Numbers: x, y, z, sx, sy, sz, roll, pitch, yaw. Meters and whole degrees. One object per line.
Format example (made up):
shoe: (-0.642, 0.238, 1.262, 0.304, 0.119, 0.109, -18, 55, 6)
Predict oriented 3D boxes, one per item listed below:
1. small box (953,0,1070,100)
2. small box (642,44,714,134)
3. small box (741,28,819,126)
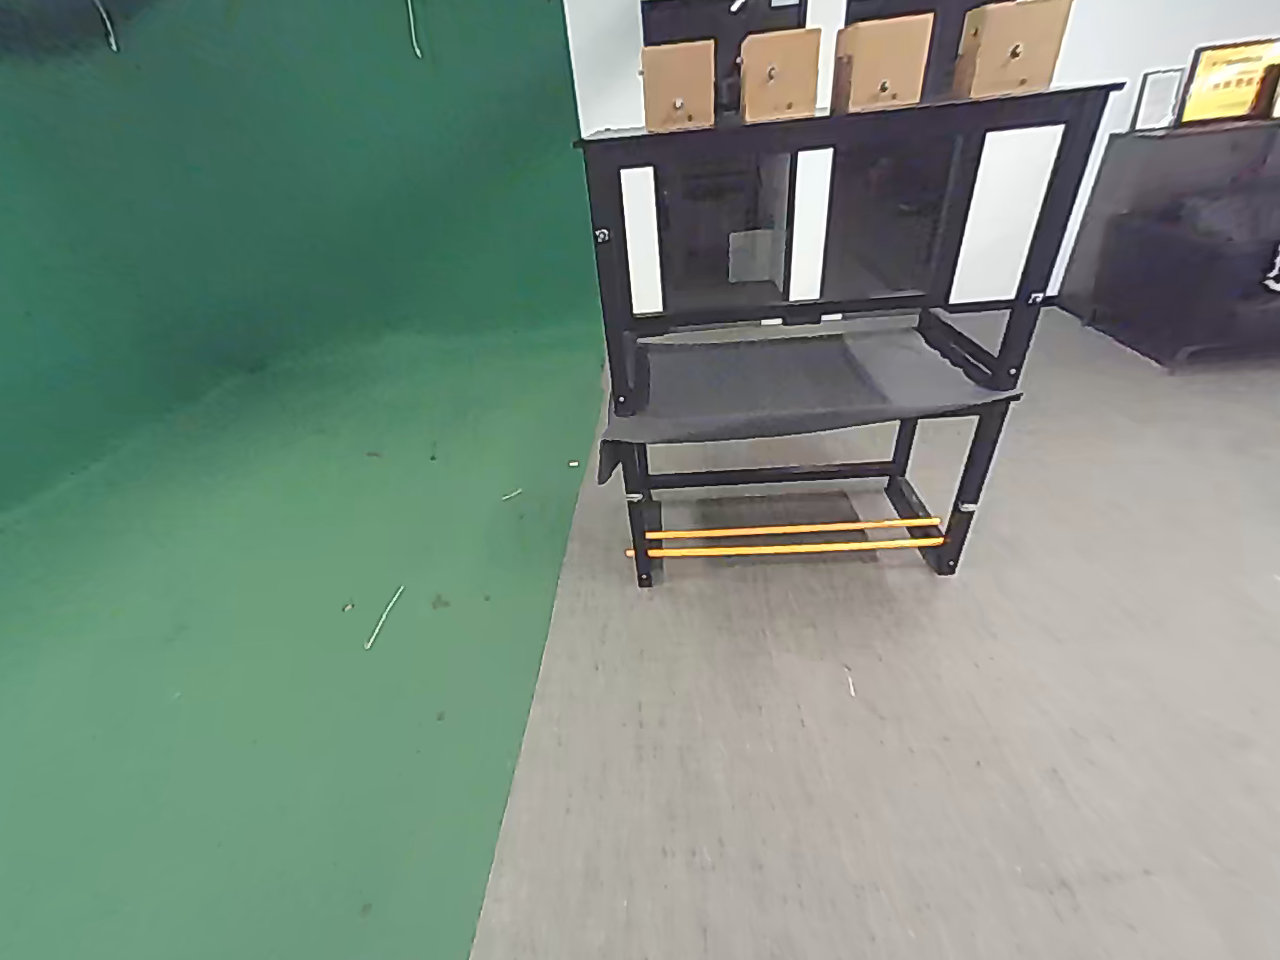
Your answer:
small box: (0.847, -0.992, 1.249, 0.168, 0.176, 0.179, 2, 35, 13)
small box: (0.093, -0.979, 1.363, 0.168, 0.176, 0.179, -5, 35, 2)
small box: (0.337, -0.979, 1.325, 0.168, 0.176, 0.179, -2, 34, 7)
